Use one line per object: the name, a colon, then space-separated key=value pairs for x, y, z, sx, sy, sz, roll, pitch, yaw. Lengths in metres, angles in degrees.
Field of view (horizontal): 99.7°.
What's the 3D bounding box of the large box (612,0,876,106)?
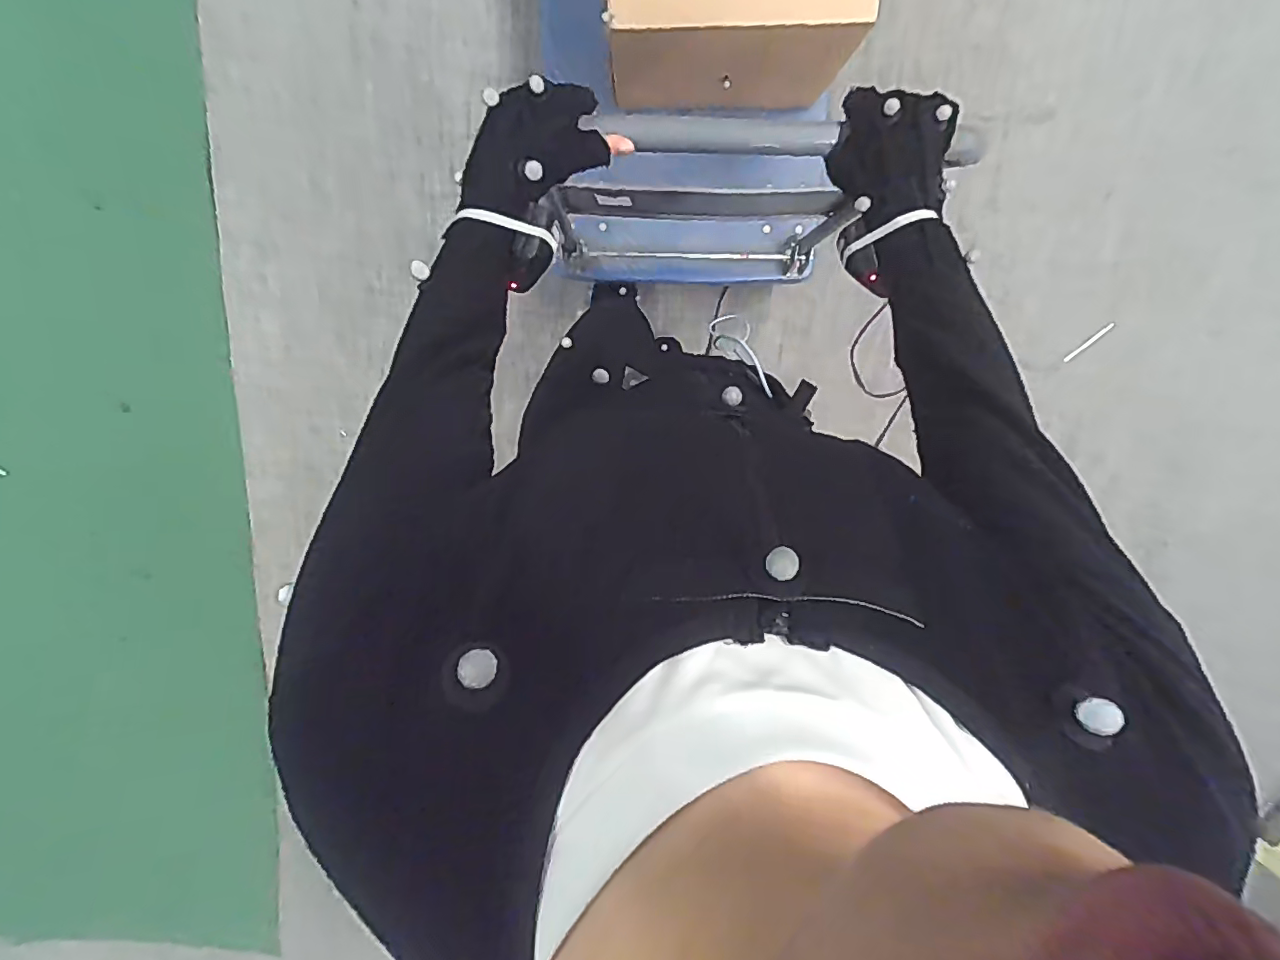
large box: x=0.156 y=-0.880 z=0.926 sx=0.408 sy=0.320 sz=0.320 roll=-2 pitch=105 yaw=2
